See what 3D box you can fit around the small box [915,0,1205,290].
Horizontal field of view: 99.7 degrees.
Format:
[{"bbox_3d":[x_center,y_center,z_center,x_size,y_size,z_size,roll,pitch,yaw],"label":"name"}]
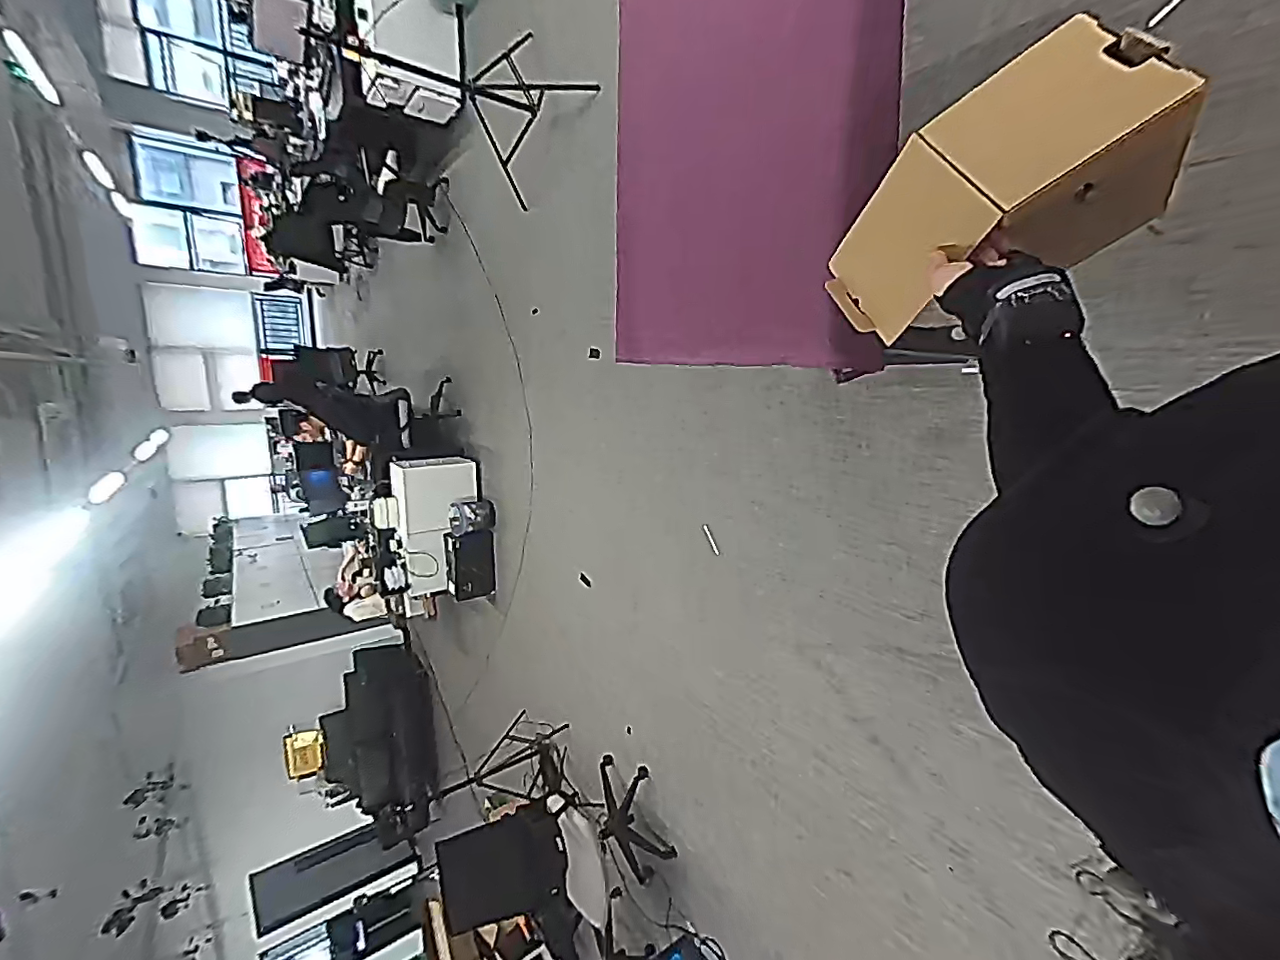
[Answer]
[{"bbox_3d":[0.439,-0.348,0.593,0.179,0.176,0.168,-32,58,22],"label":"small box"}]
